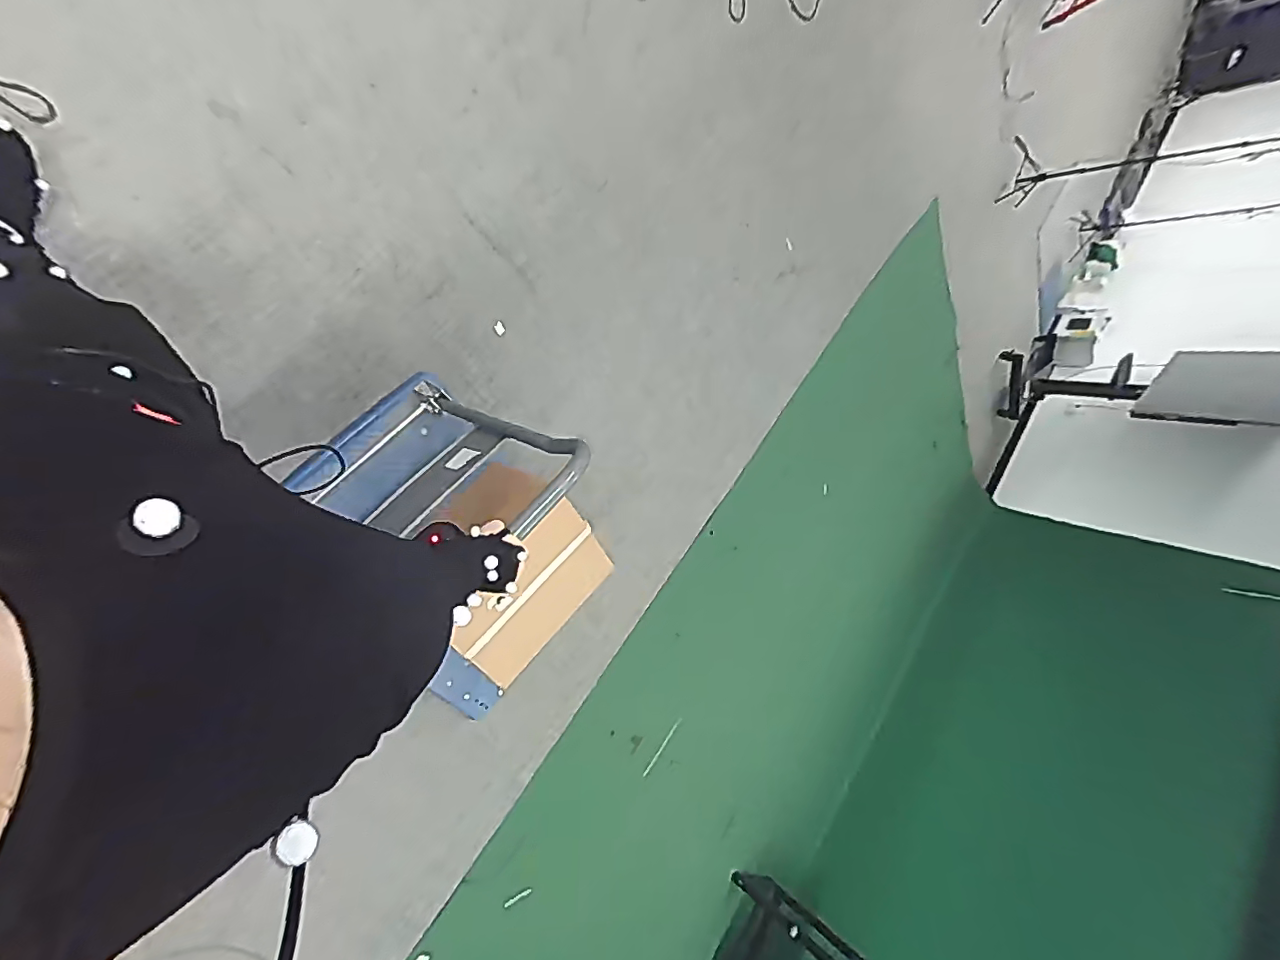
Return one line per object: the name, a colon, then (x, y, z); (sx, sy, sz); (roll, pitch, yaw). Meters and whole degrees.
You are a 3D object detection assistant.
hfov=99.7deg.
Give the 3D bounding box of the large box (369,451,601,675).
large box: (-0.382, 0.188, 1.368); (0.408, 0.320, 0.320); (-46, 128, -22)
